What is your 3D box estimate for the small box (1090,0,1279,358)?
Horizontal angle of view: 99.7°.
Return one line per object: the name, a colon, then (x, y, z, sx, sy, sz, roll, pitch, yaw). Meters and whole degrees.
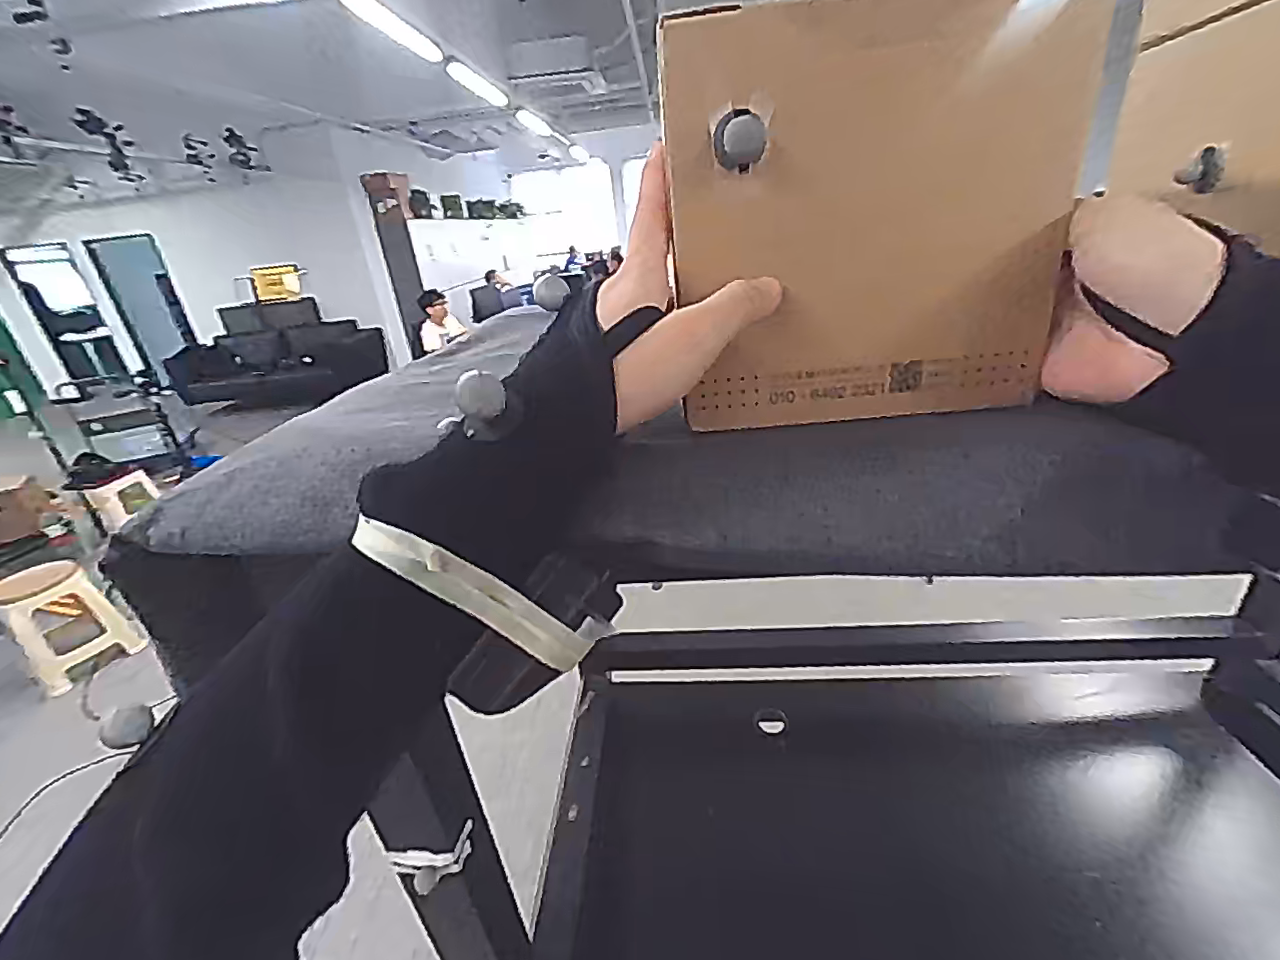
small box: (0.385, -0.160, 0.275, 0.168, 0.176, 0.179, -3, 23, 6)
